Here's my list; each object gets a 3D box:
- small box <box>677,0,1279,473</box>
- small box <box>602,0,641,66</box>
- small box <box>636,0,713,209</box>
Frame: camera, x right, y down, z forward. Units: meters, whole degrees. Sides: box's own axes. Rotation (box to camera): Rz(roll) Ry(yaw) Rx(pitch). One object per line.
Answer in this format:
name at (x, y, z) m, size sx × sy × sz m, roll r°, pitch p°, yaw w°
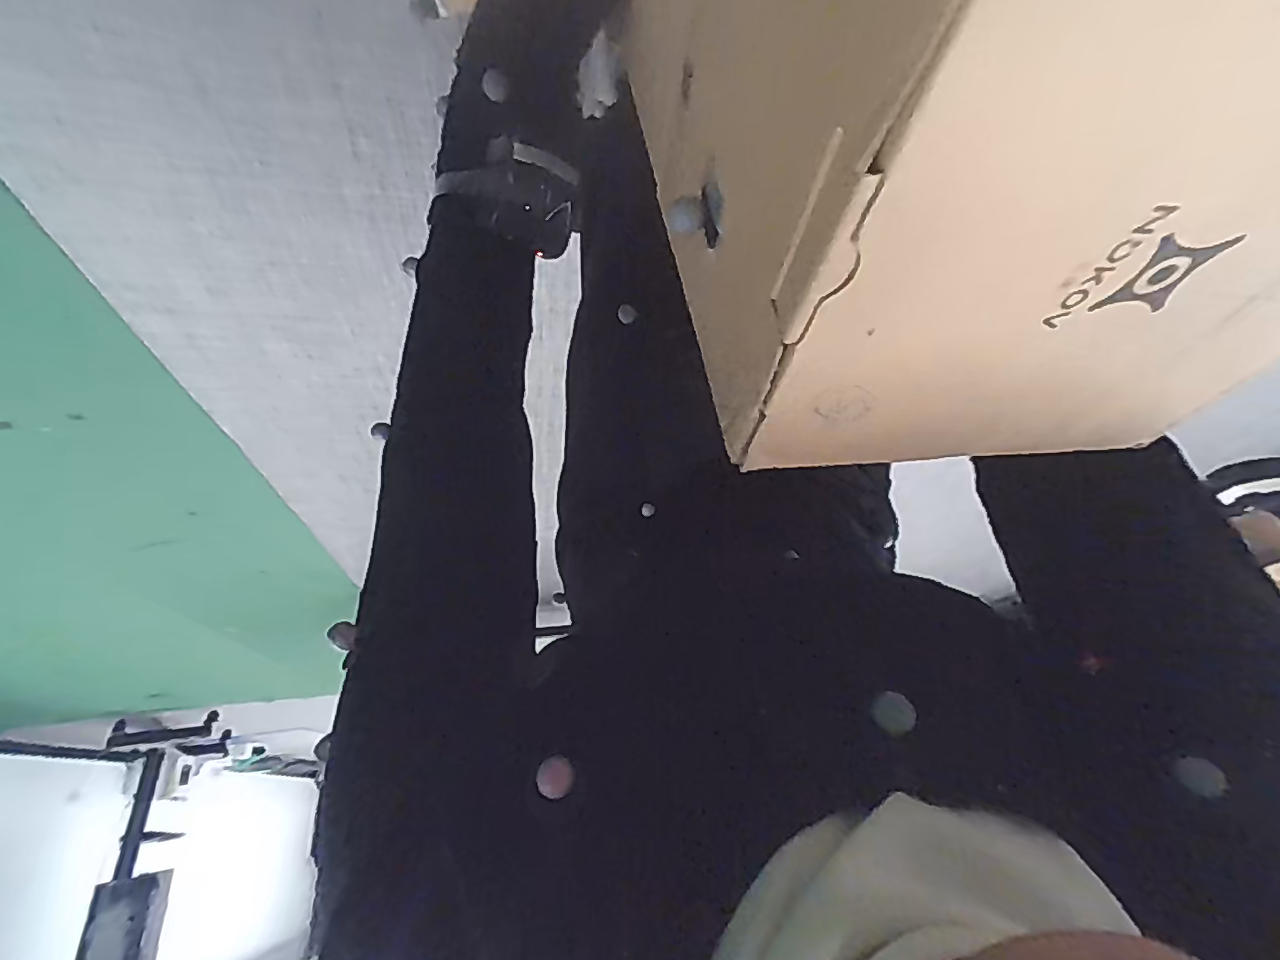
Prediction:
small box at (0.117, -0.120, 0.174) m, size 0.179 × 0.176 × 0.168 m, roll -4°, pitch 150°, yaw -9°
small box at (0.067, -0.392, 0.346) m, size 0.179 × 0.176 × 0.168 m, roll -2°, pitch 149°, yaw -9°
small box at (0.092, -0.258, 0.258) m, size 0.168 × 0.176 × 0.179 m, roll -4°, pitch 150°, yaw -8°
